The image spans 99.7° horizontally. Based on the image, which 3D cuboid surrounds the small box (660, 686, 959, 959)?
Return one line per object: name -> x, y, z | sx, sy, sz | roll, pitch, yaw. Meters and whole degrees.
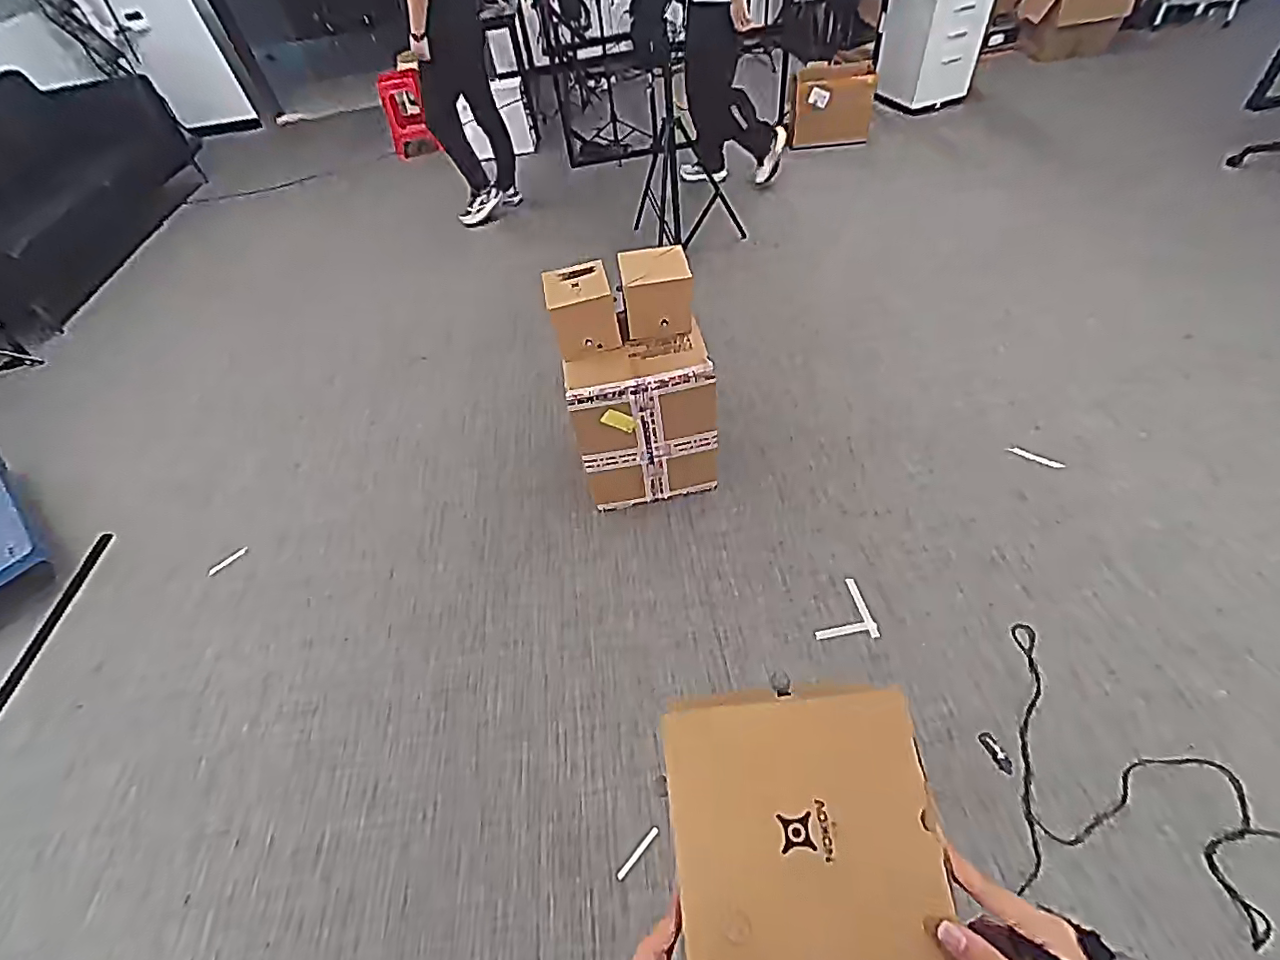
small box -> 0.115, 0.266, 0.445 | 0.179, 0.176, 0.168 | -7, 70, 2
